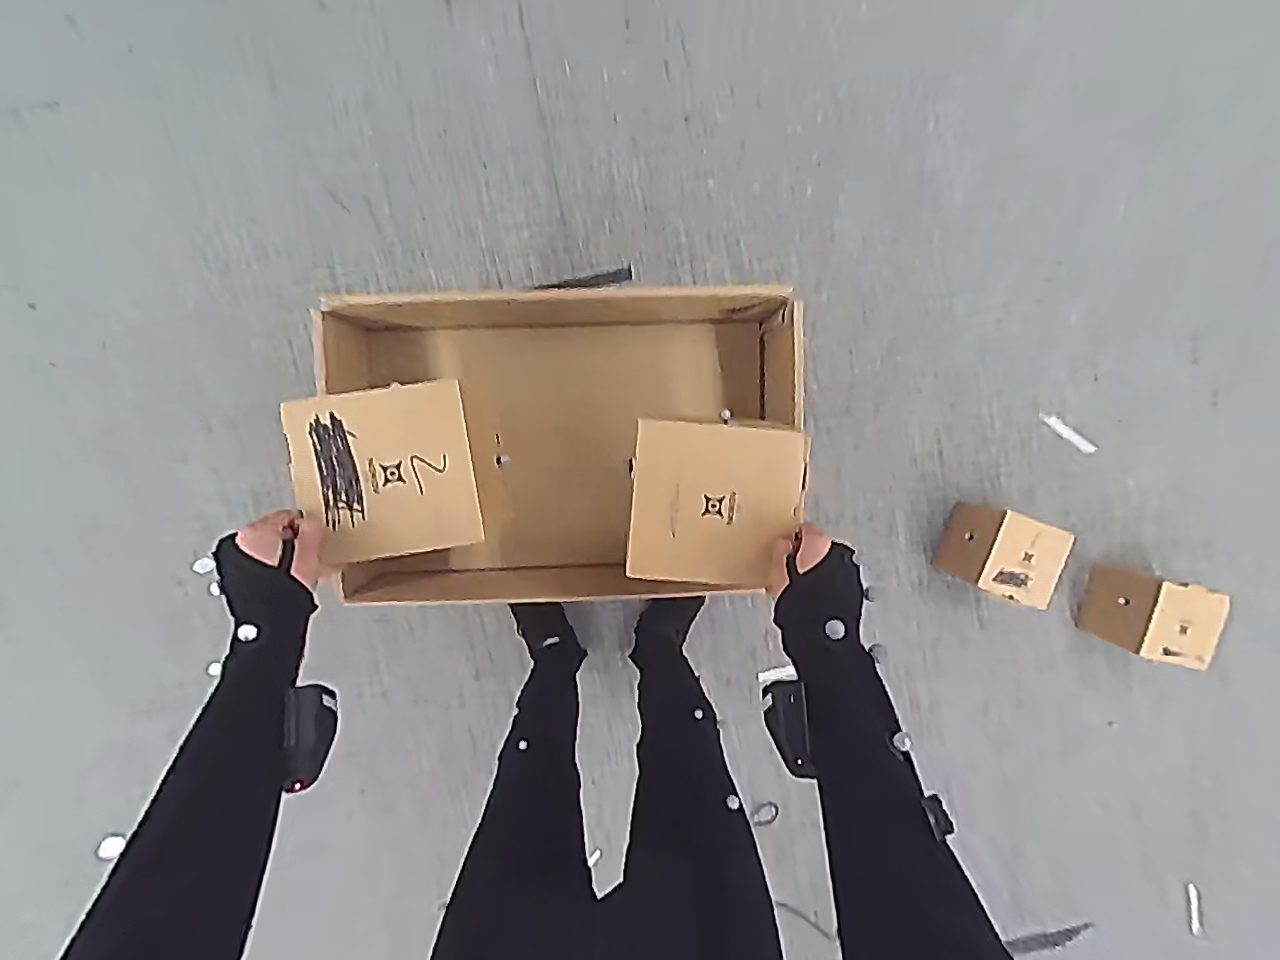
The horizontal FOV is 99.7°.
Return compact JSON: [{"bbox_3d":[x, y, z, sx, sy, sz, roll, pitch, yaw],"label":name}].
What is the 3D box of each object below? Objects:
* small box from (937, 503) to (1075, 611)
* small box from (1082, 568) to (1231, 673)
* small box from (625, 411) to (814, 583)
[{"bbox_3d":[0.811,0.166,1.221,0.168,0.176,0.179,20,94,-4],"label":"small box"},{"bbox_3d":[1.177,0.314,1.247,0.168,0.176,0.179,13,93,-3],"label":"small box"},{"bbox_3d":[0.077,0.009,0.625,0.179,0.176,0.168,4,98,-3],"label":"small box"}]
